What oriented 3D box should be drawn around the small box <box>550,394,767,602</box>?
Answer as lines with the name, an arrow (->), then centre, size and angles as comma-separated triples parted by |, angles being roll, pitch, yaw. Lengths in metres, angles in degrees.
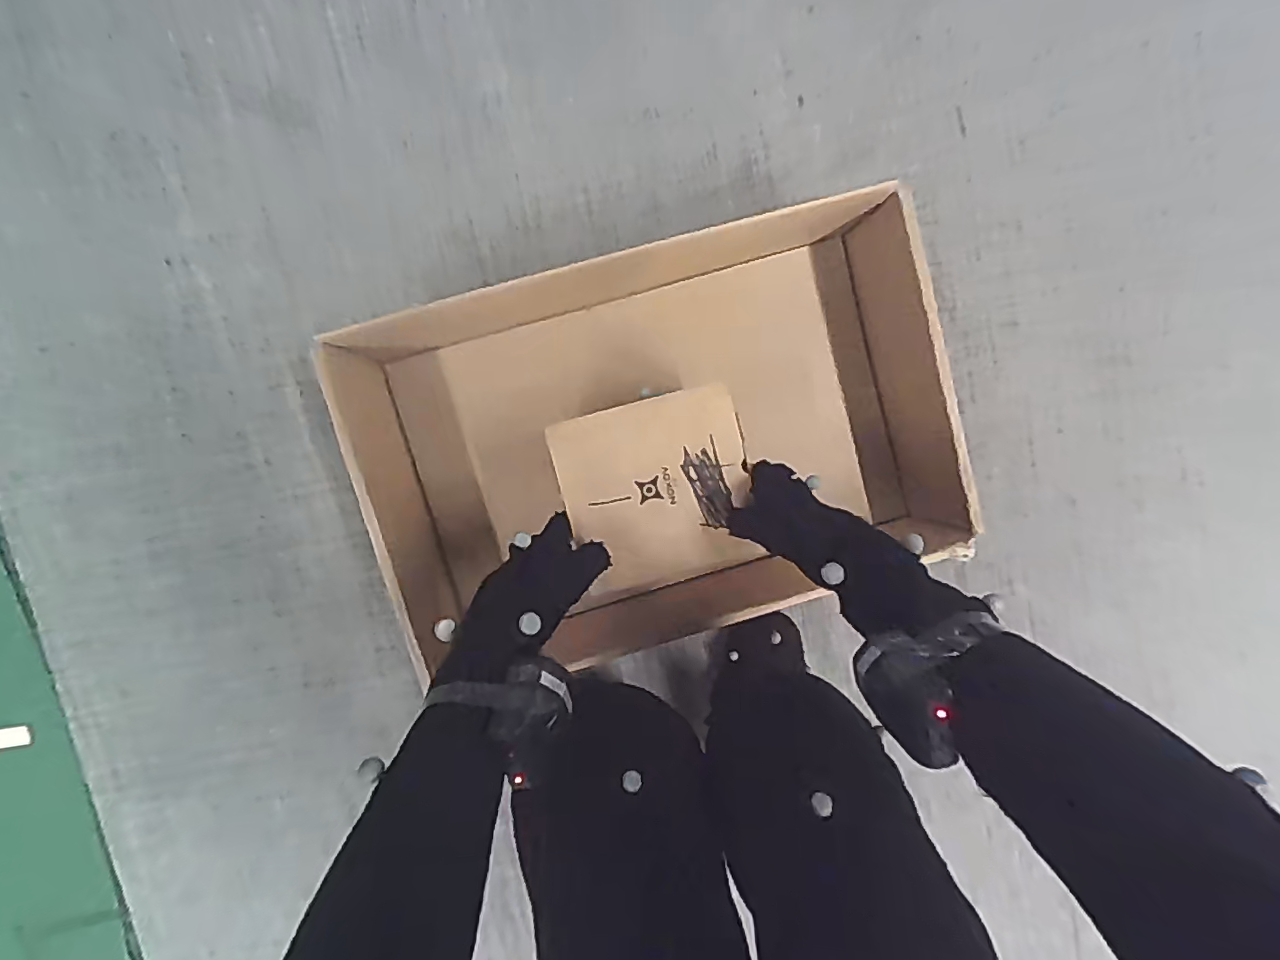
small box -> 0.018, 0.010, 0.586 | 0.179, 0.176, 0.168 | -15, 94, 2
